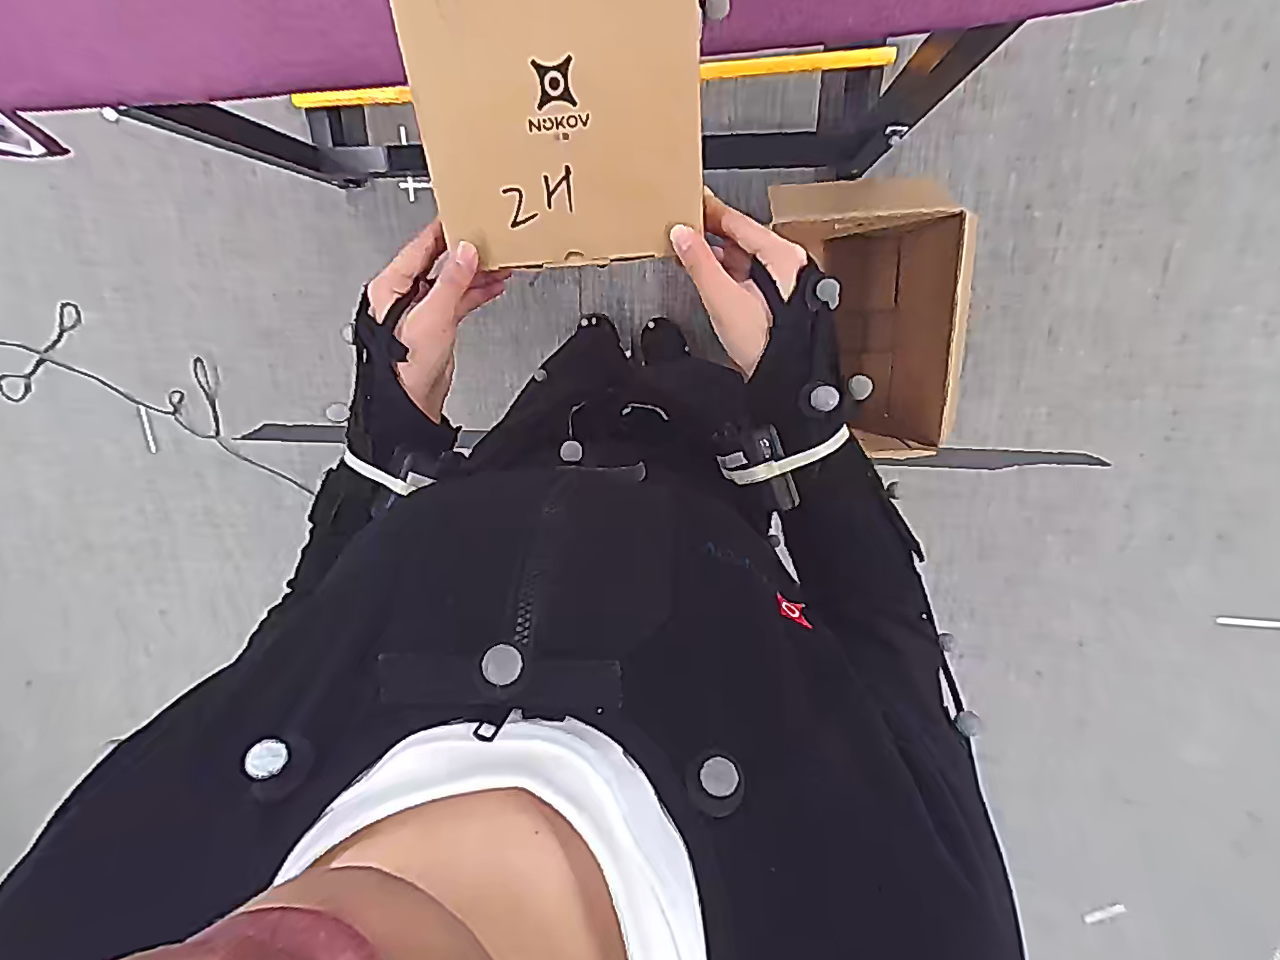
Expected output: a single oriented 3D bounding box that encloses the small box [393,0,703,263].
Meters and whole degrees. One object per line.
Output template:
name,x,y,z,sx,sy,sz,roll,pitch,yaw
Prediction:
small box,-0.042,-0.255,0.372,0.168,0.176,0.179,-1,118,7
